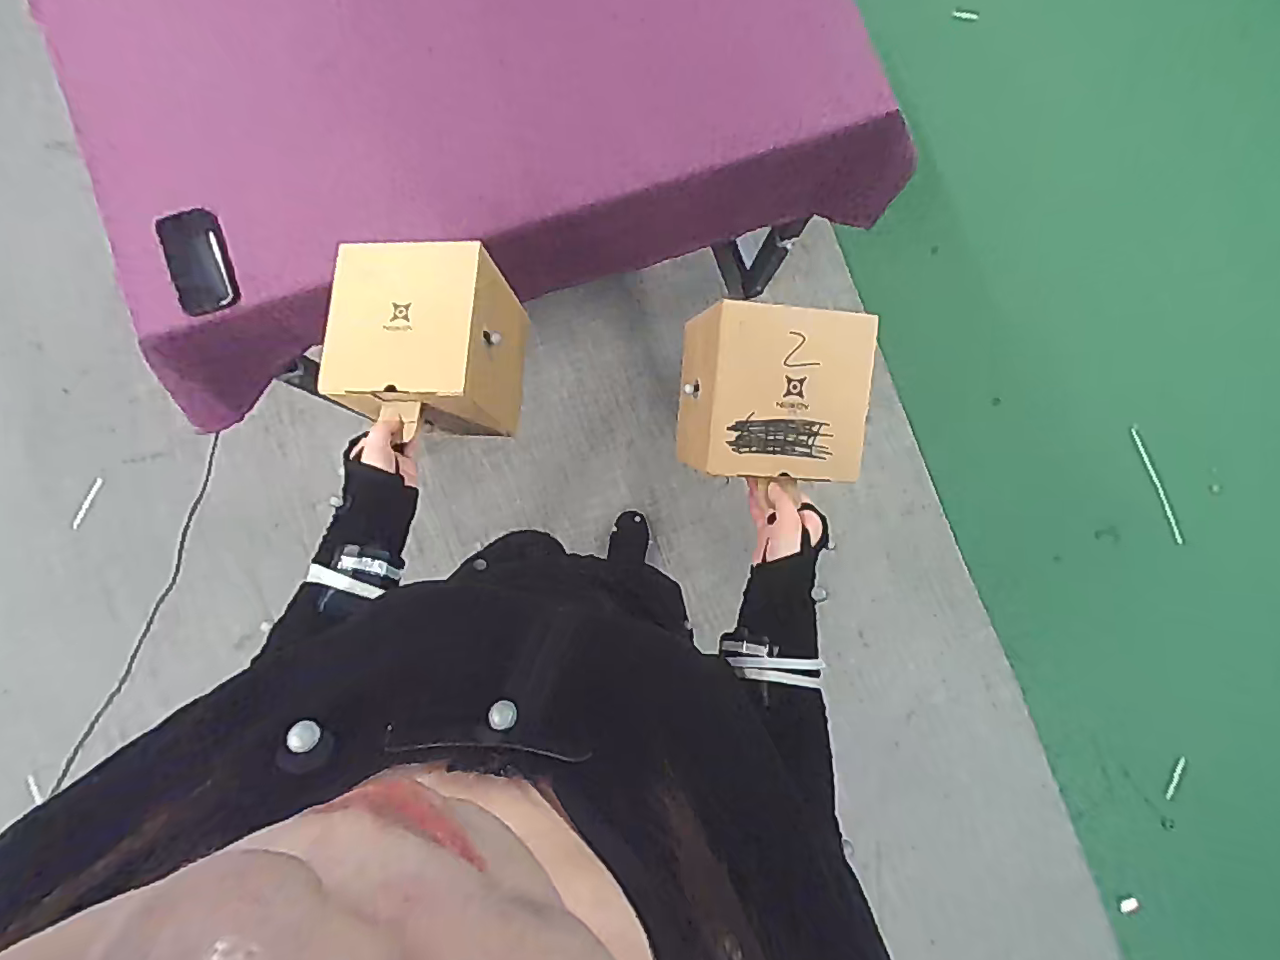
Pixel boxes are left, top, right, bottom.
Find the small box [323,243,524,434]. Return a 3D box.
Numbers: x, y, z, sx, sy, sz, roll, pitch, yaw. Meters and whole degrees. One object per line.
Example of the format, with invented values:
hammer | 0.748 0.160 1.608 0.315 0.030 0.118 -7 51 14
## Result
small box | -0.249 -0.164 0.665 0.168 0.176 0.179 1 81 6
